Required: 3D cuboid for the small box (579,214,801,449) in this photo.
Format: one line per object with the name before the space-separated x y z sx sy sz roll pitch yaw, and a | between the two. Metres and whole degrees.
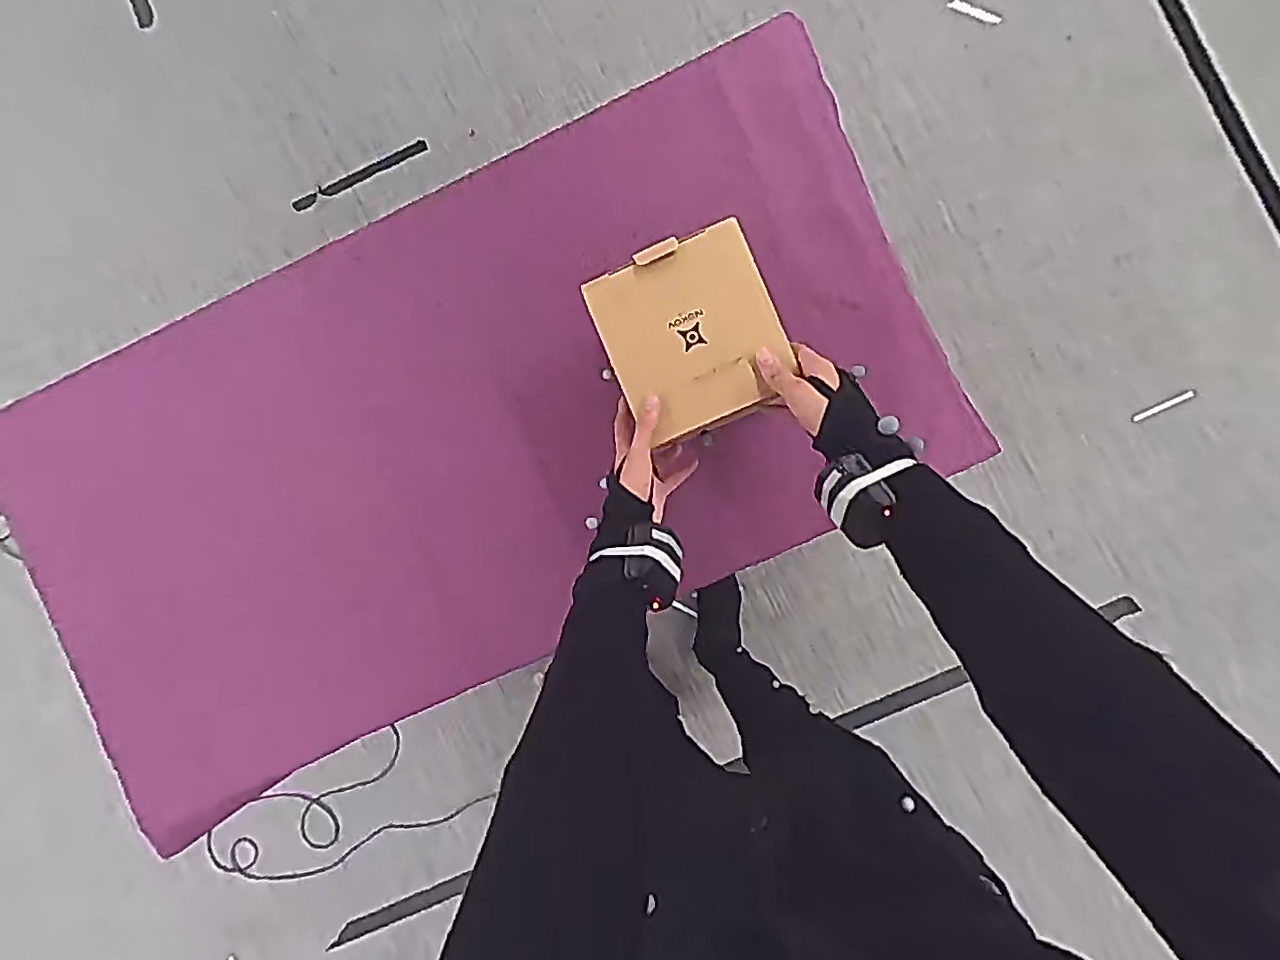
small box | 0.051 -0.144 0.591 0.168 0.176 0.179 -22 90 5
